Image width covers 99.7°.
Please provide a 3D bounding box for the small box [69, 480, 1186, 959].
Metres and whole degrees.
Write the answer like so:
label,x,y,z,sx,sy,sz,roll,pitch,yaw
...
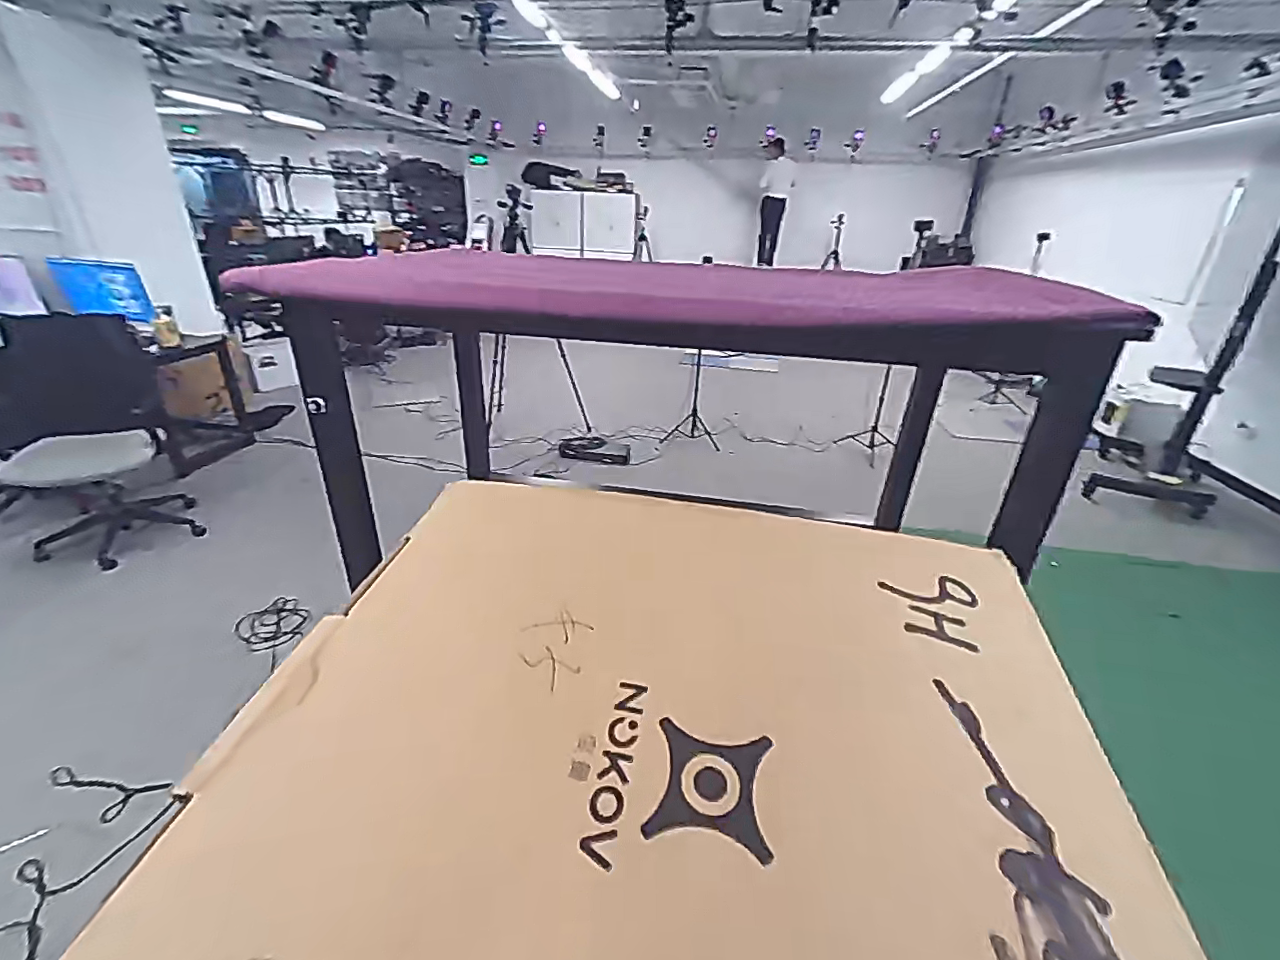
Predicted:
label,x,y,z,sx,sy,sz,roll,pitch,yaw
small box,0.005,0.121,0.160,0.179,0.176,0.168,7,37,8
